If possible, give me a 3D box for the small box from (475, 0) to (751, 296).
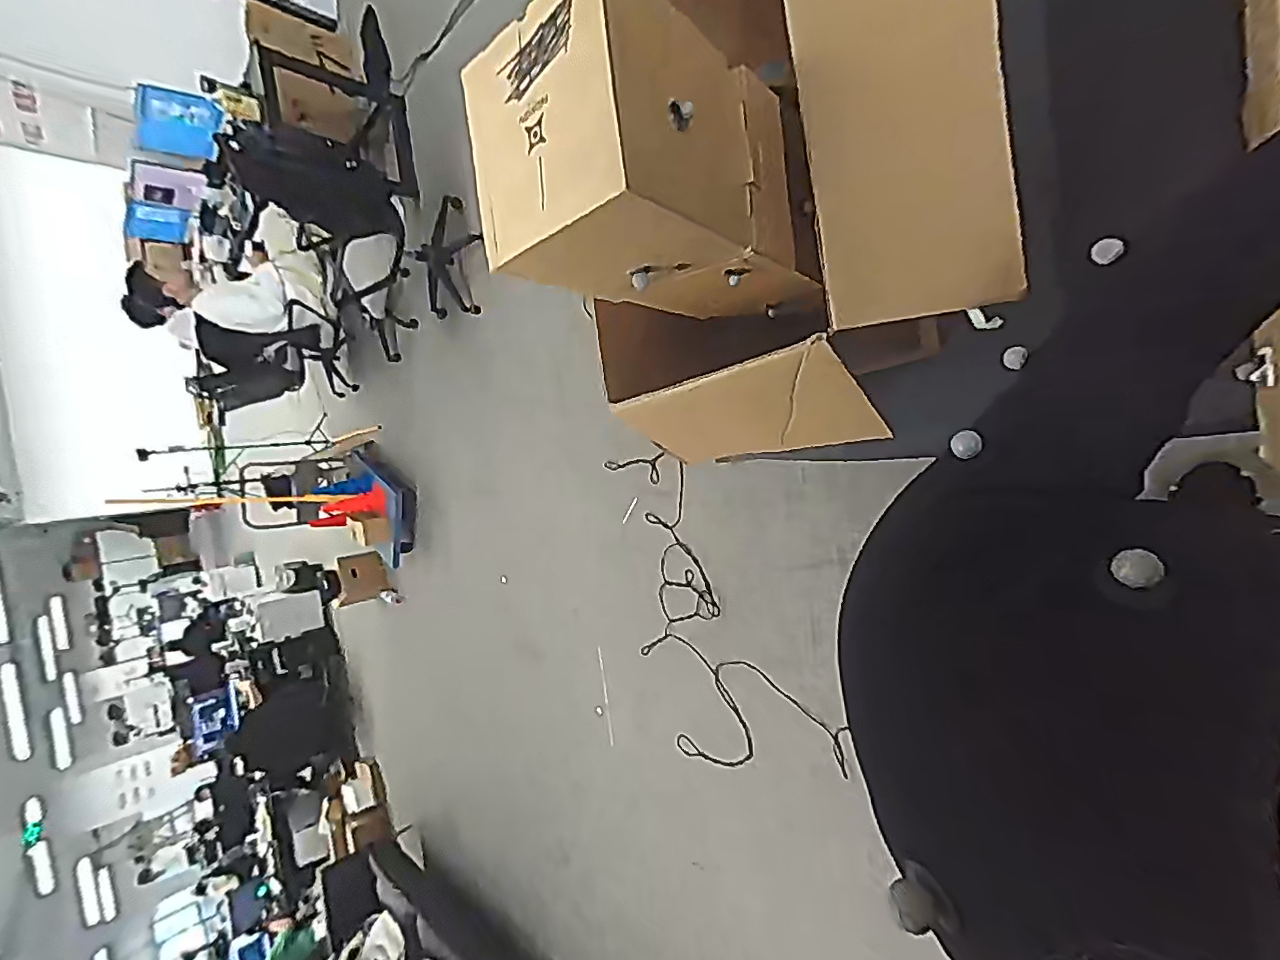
[{"bbox_3d":[-0.019,-0.283,0.477,0.168,0.176,0.179,-6,91,41],"label":"small box"}]
